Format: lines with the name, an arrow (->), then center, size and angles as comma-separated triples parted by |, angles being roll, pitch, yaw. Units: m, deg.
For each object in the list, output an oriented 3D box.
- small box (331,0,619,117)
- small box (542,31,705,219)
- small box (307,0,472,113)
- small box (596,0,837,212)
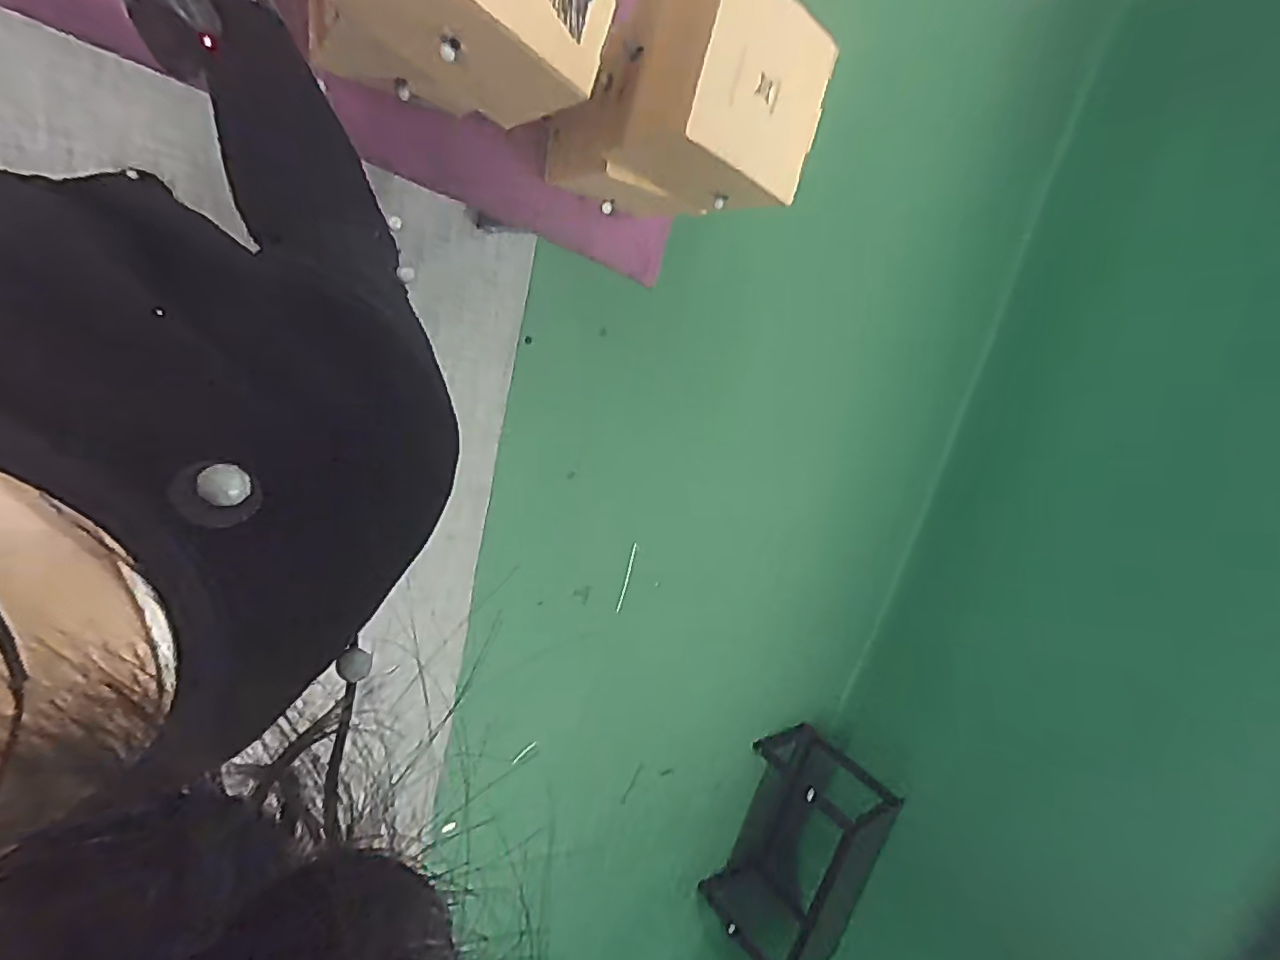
small box -> -0.126, -0.430, 0.438 | 0.179, 0.176, 0.168 | 15, 99, -41
small box -> -0.009, -0.469, 0.739 | 0.179, 0.176, 0.168 | 0, 110, -38
small box -> -0.231, -0.507, 0.544 | 0.168, 0.176, 0.179 | -3, 111, -37
small box -> 0.080, -0.422, 0.610 | 0.179, 0.176, 0.168 | 7, 105, -40
